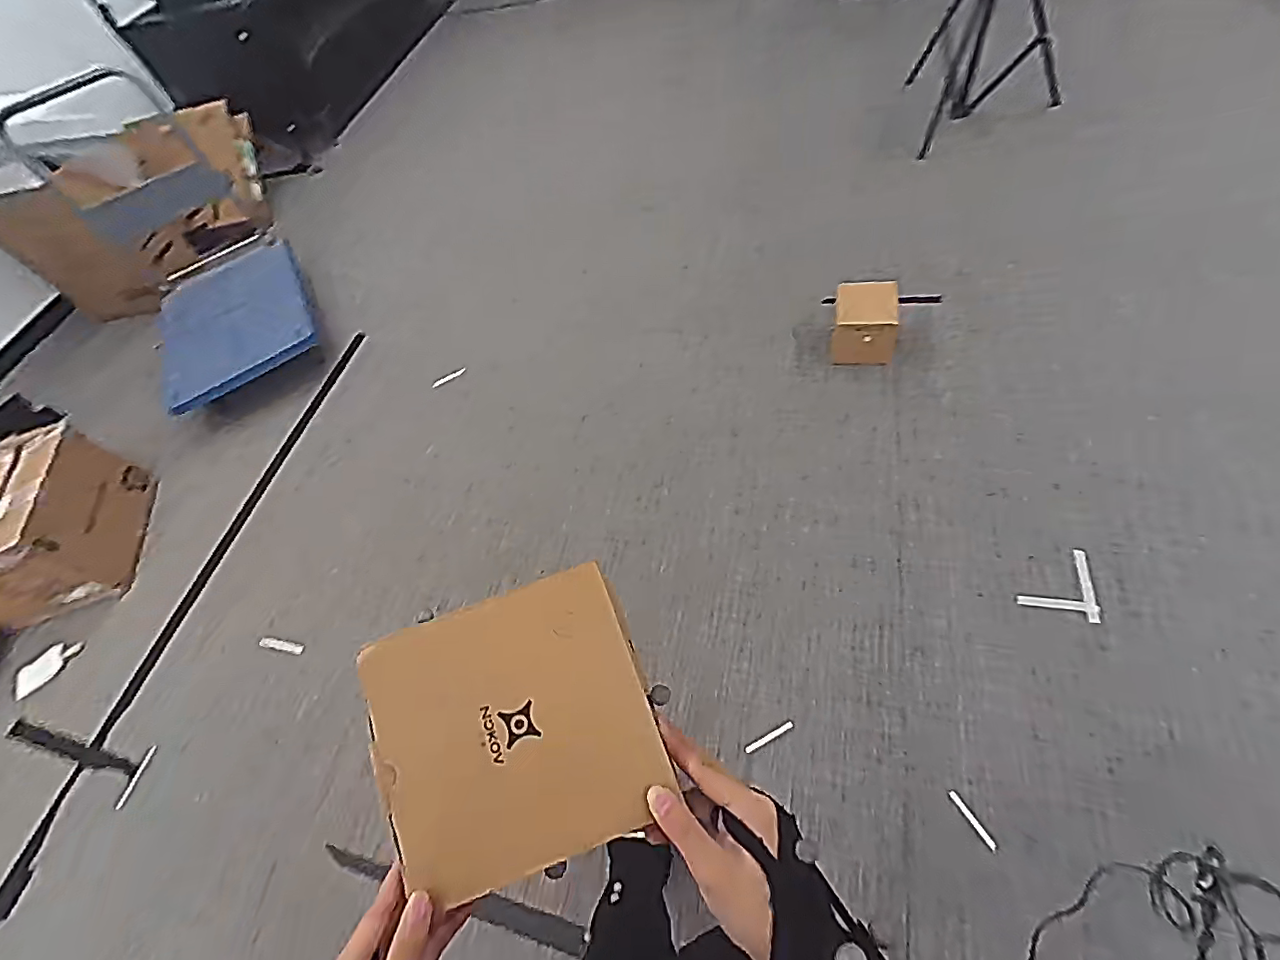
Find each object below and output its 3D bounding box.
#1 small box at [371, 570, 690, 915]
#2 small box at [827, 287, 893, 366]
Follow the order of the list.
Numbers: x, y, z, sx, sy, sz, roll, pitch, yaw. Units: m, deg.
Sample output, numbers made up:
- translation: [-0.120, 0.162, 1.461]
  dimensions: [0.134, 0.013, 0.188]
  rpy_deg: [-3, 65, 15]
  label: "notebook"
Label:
- translation: [-0.074, 0.183, 0.428]
  dimensions: [0.179, 0.176, 0.168]
  rpy_deg: [-20, 73, -4]
  label: "small box"
- translation: [0.665, -0.469, 1.648]
  dimensions: [0.168, 0.176, 0.179]
  rpy_deg: [3, 59, 15]
  label: "small box"
